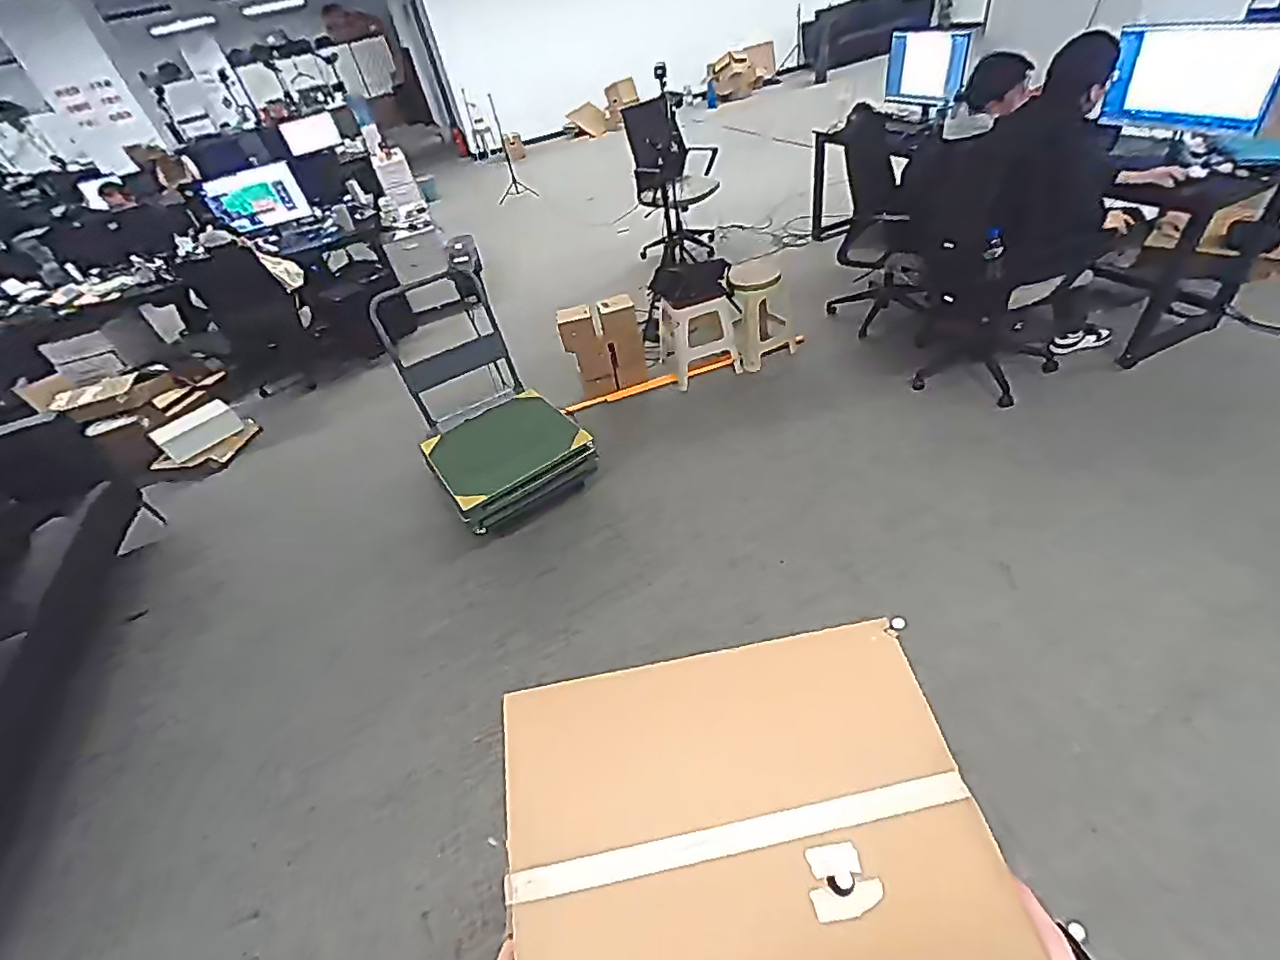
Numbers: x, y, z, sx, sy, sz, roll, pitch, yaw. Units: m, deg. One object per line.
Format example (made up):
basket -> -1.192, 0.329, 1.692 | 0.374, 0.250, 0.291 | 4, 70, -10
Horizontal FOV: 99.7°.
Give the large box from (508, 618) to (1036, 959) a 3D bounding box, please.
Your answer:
large box -> 0.093, 0.390, 0.600 | 0.408, 0.320, 0.320 | -10, 57, -5
